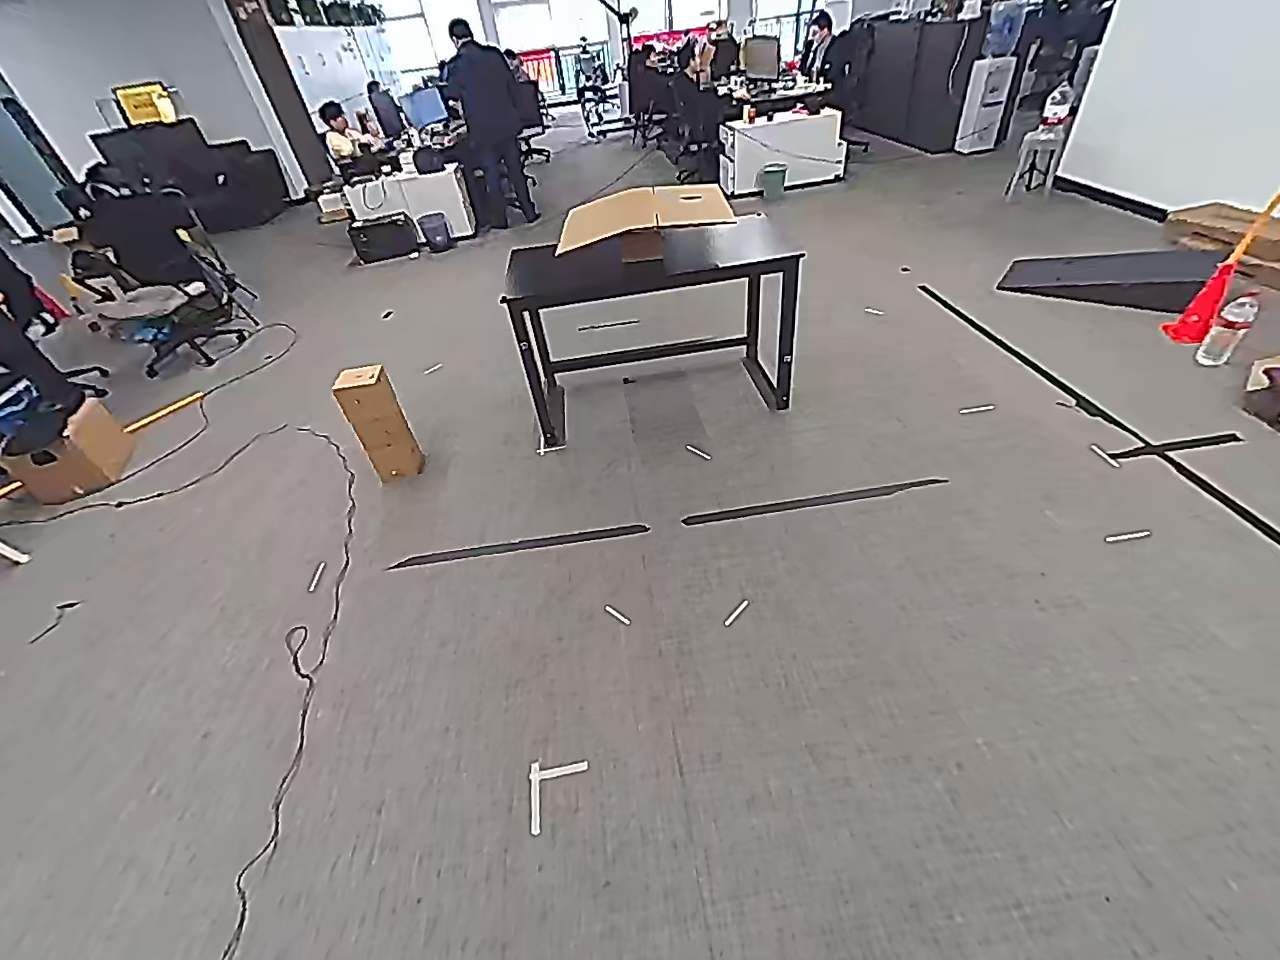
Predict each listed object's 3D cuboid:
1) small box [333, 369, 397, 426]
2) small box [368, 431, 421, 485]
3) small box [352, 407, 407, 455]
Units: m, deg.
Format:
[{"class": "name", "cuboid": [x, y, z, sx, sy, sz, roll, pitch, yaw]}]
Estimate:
[{"class": "small box", "cuboid": [-1.177, -0.352, 2.325, 0.179, 0.176, 0.168, -12, 40, -4]}, {"class": "small box", "cuboid": [-1.142, -0.103, 2.534, 0.168, 0.176, 0.179, -12, 41, -3]}, {"class": "small box", "cuboid": [-1.164, -0.229, 2.433, 0.168, 0.176, 0.179, -13, 39, -7]}]
